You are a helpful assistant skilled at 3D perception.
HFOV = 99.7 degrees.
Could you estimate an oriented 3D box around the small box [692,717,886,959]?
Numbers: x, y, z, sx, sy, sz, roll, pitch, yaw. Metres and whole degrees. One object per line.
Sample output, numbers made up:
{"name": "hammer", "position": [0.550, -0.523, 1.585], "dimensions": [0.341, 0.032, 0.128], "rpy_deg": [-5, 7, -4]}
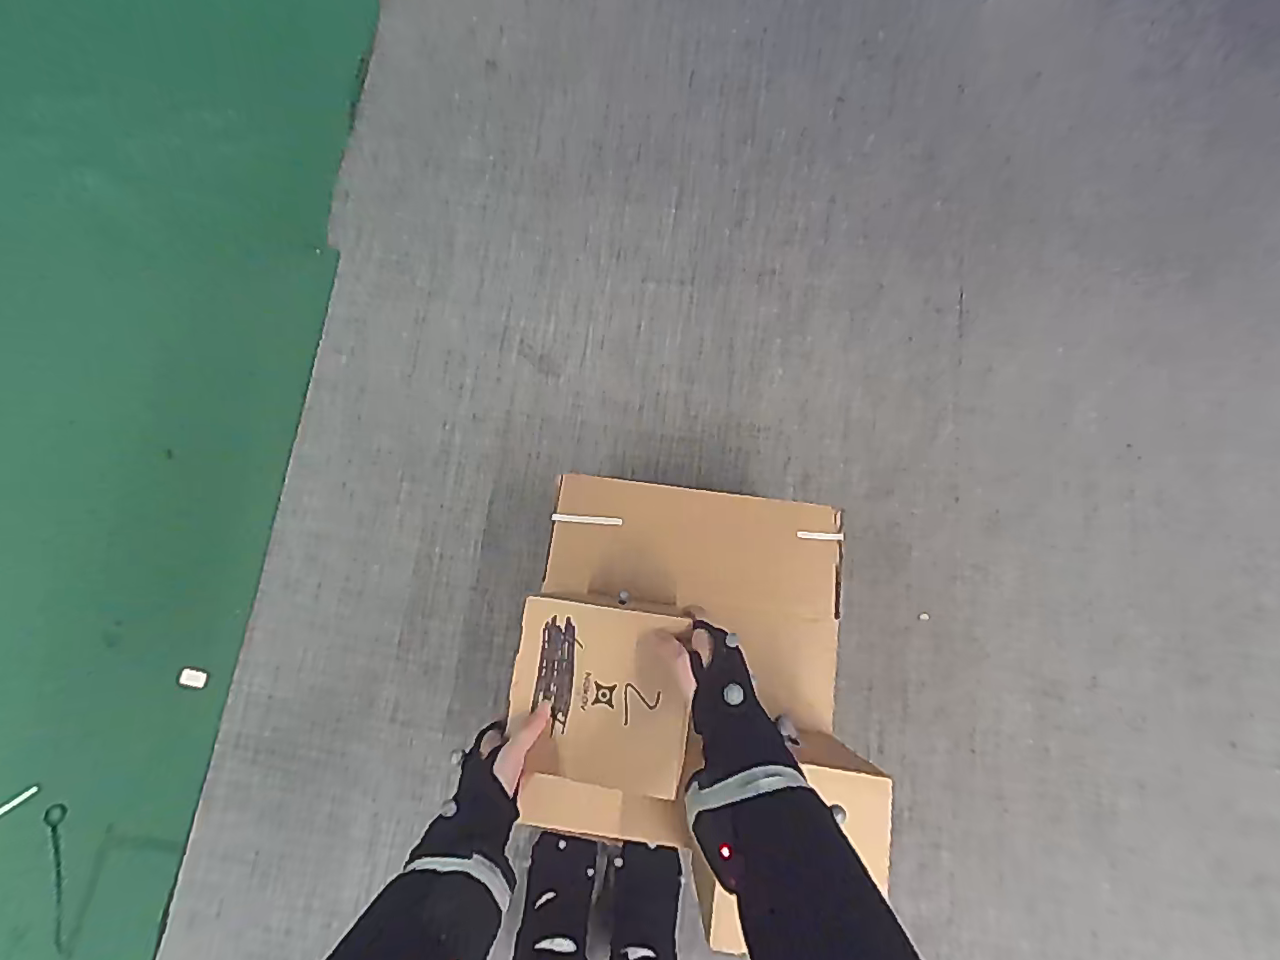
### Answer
{"name": "small box", "position": [0.154, 0.381, 0.606], "dimensions": [0.168, 0.176, 0.179], "rpy_deg": [9, 78, 2]}
